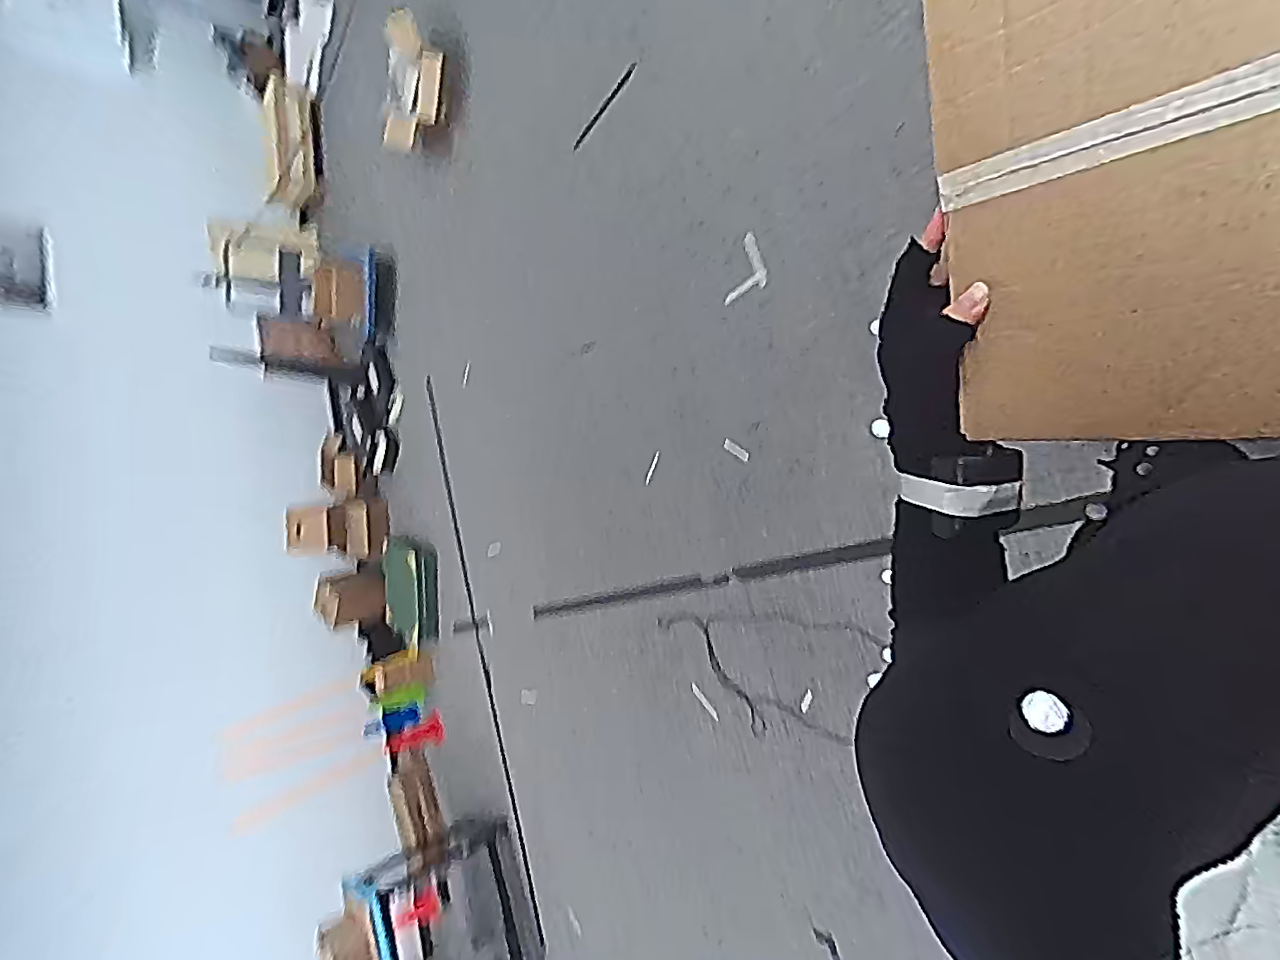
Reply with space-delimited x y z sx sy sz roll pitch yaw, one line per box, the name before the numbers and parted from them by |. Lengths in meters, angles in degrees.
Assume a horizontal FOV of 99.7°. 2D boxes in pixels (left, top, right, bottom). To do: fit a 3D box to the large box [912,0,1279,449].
large box | 0.423 -0.214 0.282 0.408 0.320 0.320 1 112 50
